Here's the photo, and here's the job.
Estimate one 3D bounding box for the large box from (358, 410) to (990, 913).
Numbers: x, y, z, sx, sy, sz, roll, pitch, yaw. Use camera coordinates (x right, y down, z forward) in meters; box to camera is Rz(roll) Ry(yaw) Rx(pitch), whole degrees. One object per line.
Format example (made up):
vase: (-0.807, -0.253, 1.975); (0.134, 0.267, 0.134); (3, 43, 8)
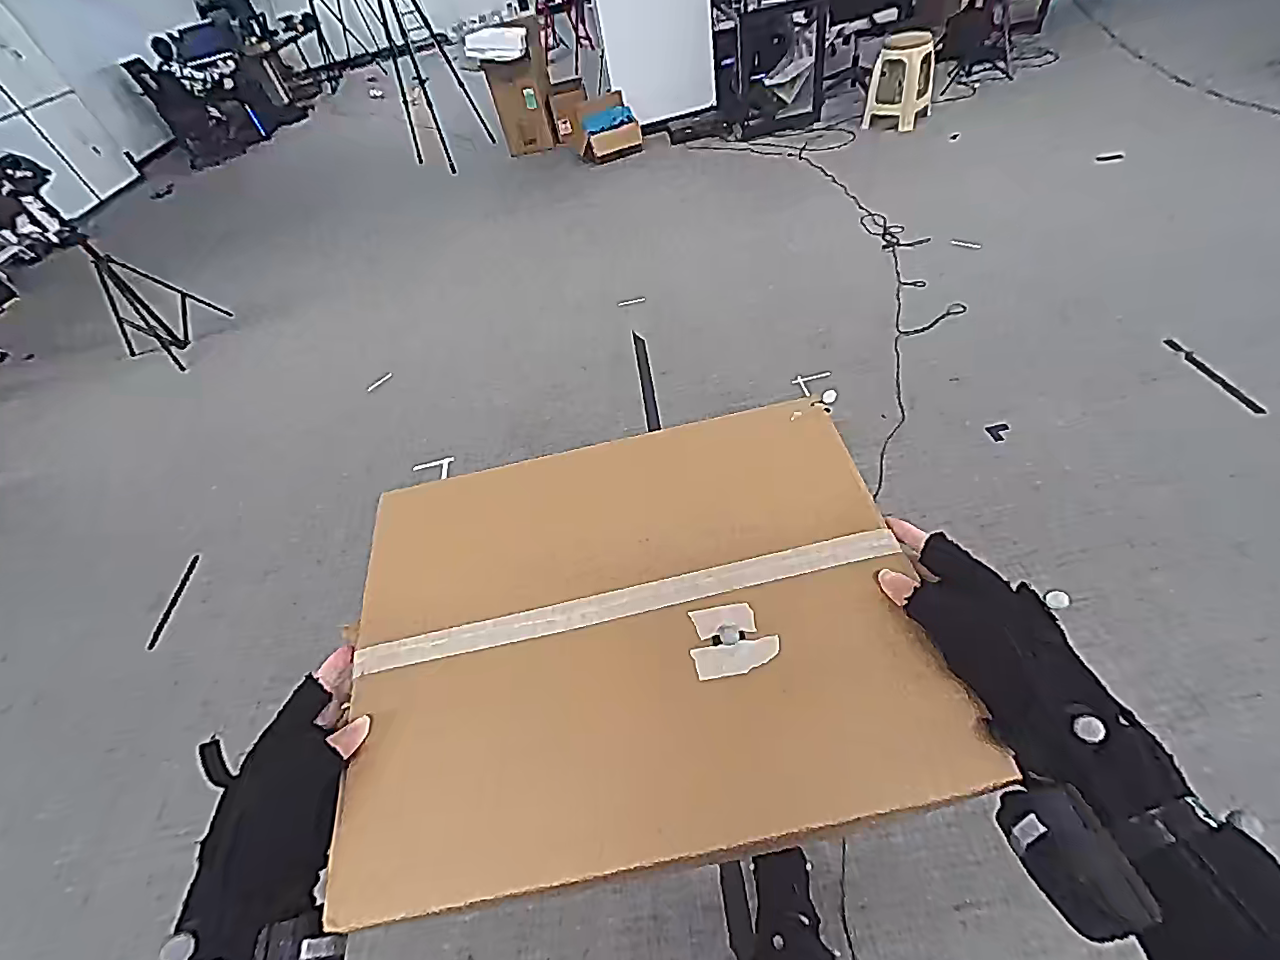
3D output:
large box: (0.013, 0.183, 0.532); (0.408, 0.320, 0.320); (-12, 54, 0)
